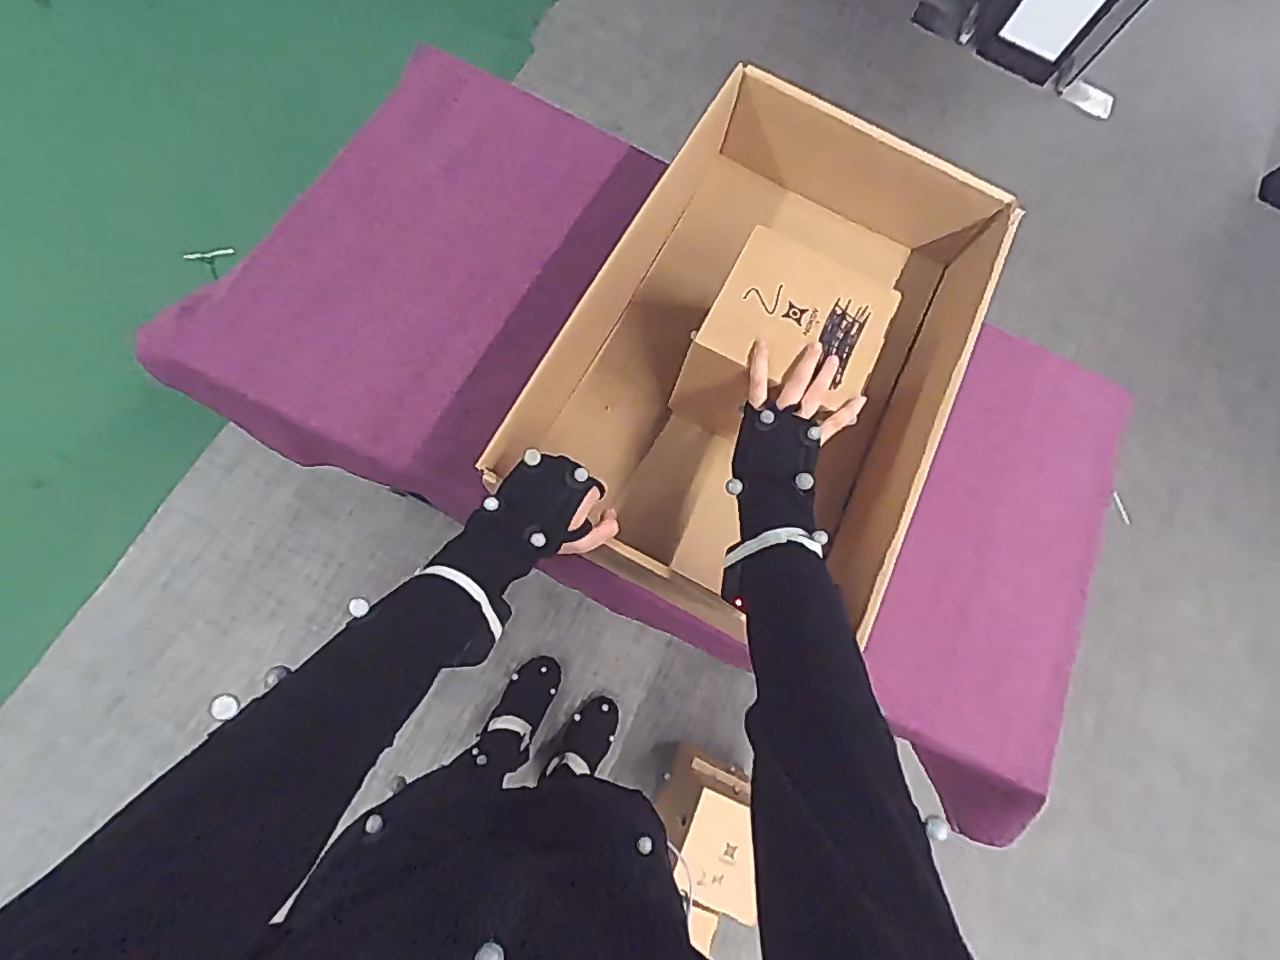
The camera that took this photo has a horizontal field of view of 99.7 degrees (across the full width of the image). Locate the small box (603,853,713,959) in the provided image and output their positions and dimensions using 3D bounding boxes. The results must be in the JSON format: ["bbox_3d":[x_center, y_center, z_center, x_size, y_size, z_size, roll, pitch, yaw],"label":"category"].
[{"bbox_3d":[0.031,0.930,1.145,0.179,0.176,0.168,23,73,-1],"label":"small box"}]

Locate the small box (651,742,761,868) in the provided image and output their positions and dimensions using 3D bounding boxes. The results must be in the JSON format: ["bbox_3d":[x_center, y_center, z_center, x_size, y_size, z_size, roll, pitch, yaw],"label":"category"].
[{"bbox_3d":[0.141,0.715,1.214,0.179,0.176,0.168,26,74,1],"label":"small box"}]
